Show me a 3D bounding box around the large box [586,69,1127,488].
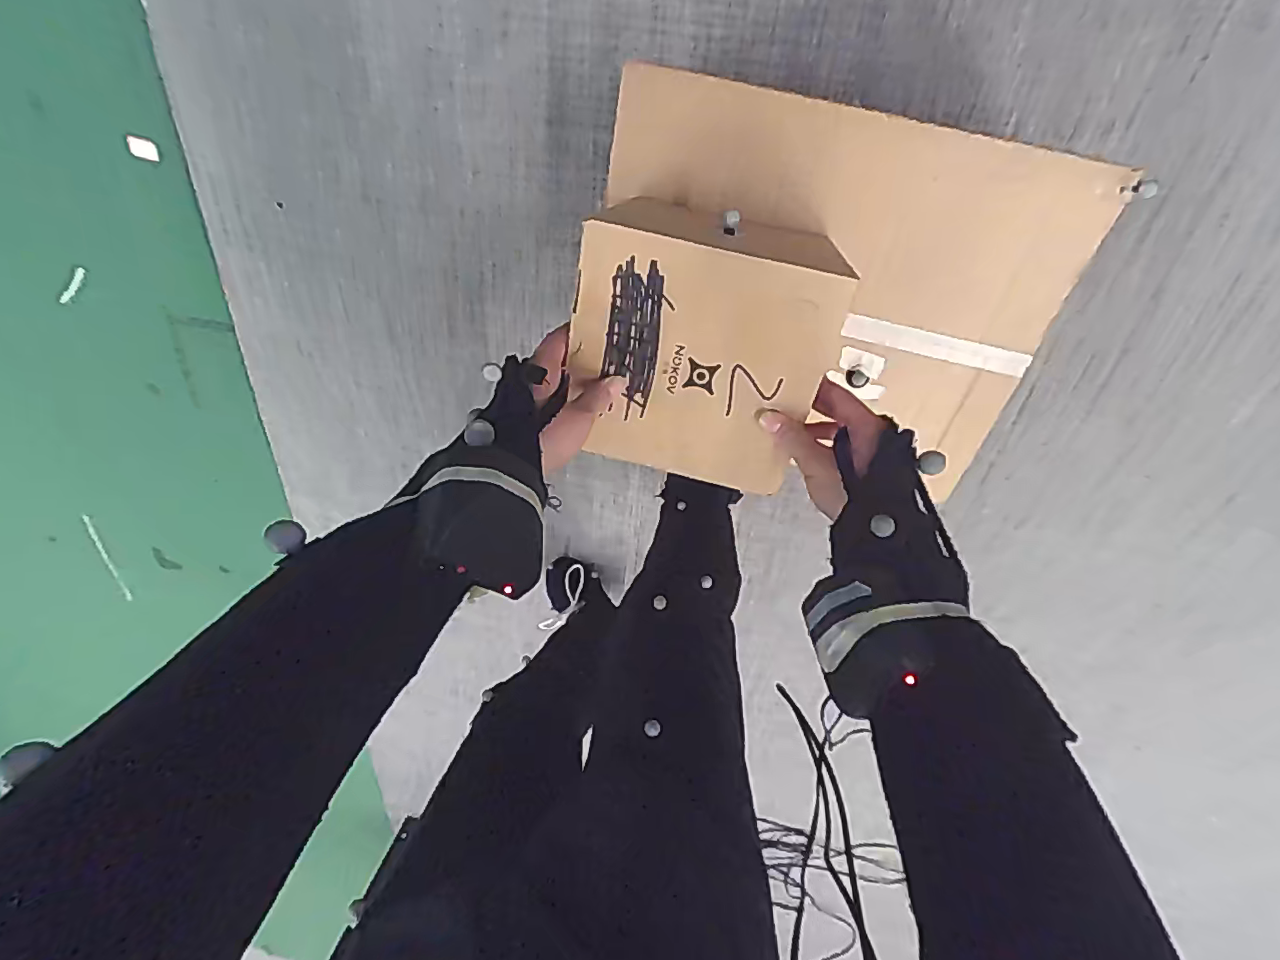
[{"bbox_3d":[0.179,-0.237,0.626,0.408,0.320,0.320,14,124,3],"label":"large box"}]
